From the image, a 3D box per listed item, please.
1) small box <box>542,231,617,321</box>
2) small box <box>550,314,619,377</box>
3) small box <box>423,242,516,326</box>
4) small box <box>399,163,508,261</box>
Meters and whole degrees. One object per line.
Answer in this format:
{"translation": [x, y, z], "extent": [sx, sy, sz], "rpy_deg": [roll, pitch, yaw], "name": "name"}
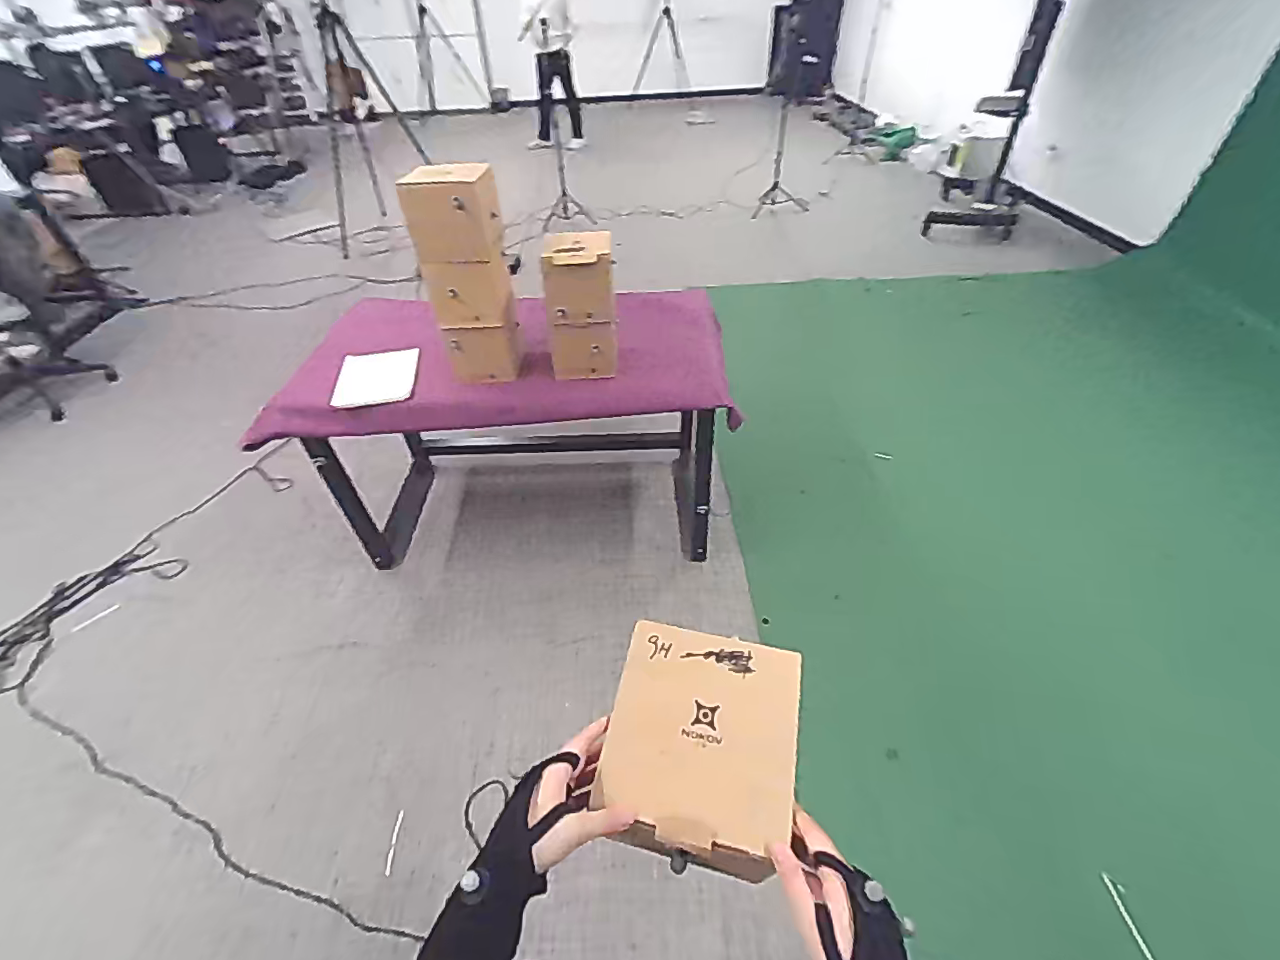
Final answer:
{"translation": [-0.144, -0.511, 1.365], "extent": [0.168, 0.176, 0.179], "rpy_deg": [-2, 41, 0], "name": "small box"}
{"translation": [-0.144, -0.393, 1.478], "extent": [0.168, 0.176, 0.179], "rpy_deg": [-1, 42, 1], "name": "small box"}
{"translation": [-0.420, -0.500, 1.366], "extent": [0.168, 0.176, 0.179], "rpy_deg": [-2, 42, 1], "name": "small box"}
{"translation": [-0.418, -0.618, 1.250], "extent": [0.179, 0.176, 0.168], "rpy_deg": [0, 41, 3], "name": "small box"}
